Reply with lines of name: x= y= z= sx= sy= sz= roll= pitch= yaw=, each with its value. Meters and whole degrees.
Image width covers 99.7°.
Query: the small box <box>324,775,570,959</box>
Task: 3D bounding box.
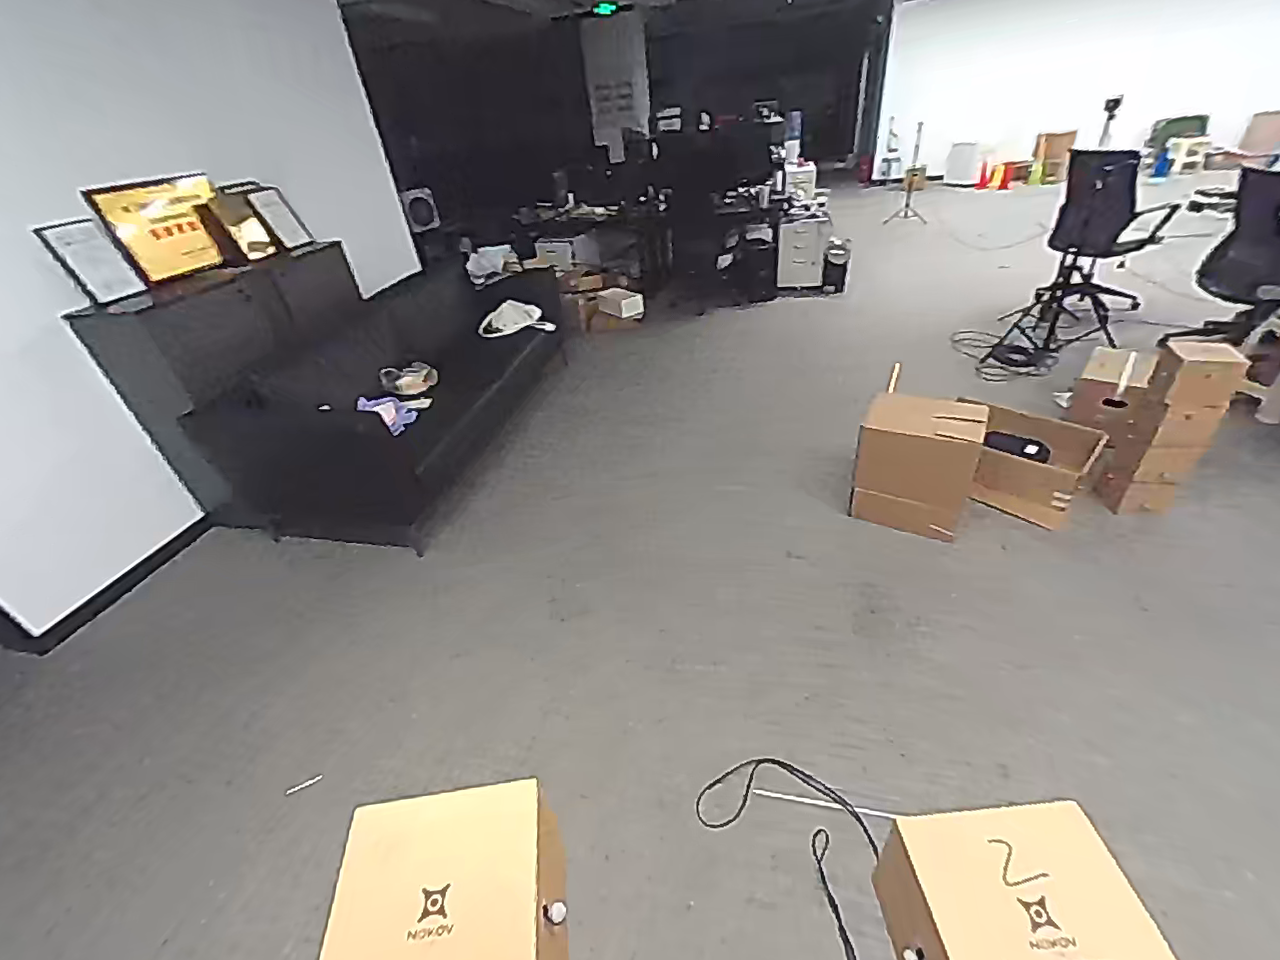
small box: x=-0.156 y=0.396 z=0.482 sx=0.168 sy=0.176 sz=0.179 roll=-7 pitch=42 yaw=-3
